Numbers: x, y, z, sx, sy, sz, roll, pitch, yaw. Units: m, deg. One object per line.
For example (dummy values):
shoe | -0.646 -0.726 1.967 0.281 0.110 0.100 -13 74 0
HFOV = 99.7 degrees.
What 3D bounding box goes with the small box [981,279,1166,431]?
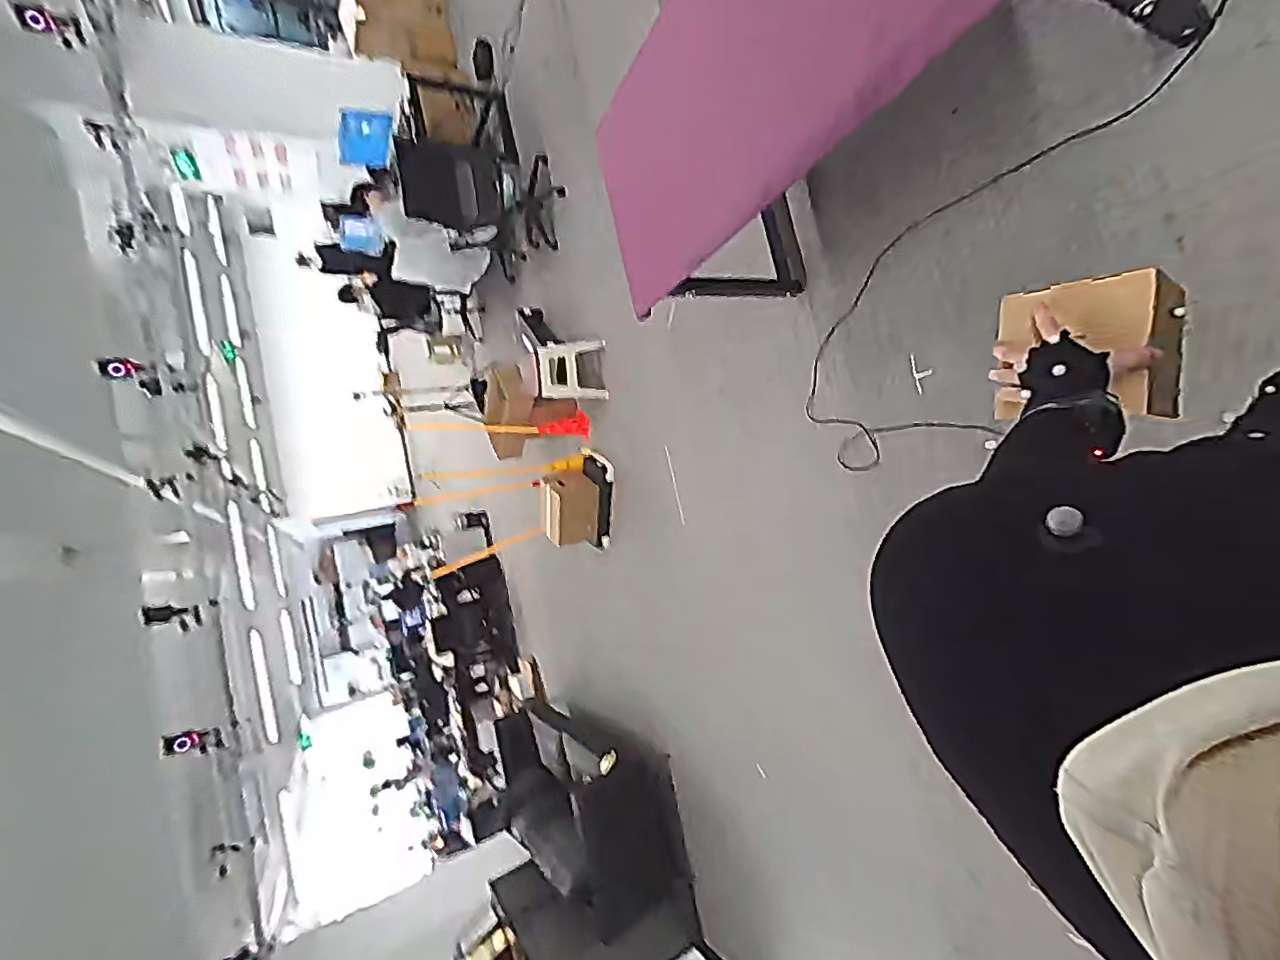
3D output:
small box | 0.612 -0.162 0.766 0.168 0.176 0.179 4 95 54
